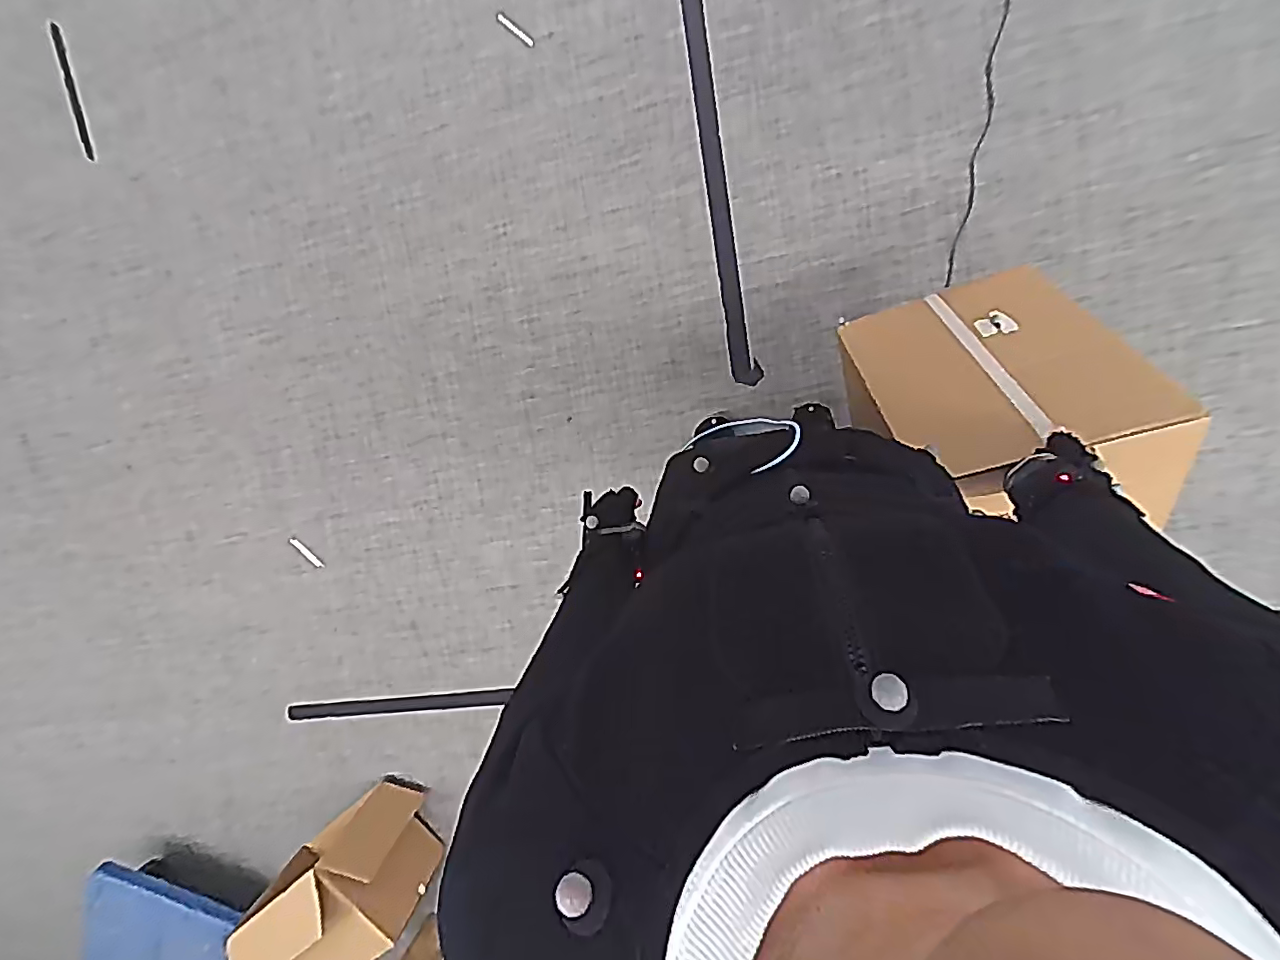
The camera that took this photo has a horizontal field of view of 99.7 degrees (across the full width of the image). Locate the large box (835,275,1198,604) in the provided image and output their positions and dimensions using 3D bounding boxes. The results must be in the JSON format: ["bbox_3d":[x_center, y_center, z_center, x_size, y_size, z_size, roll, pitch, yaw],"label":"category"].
[{"bbox_3d":[0.554,-0.069,0.896,0.320,0.408,0.320,-16,132,12],"label":"large box"}]
